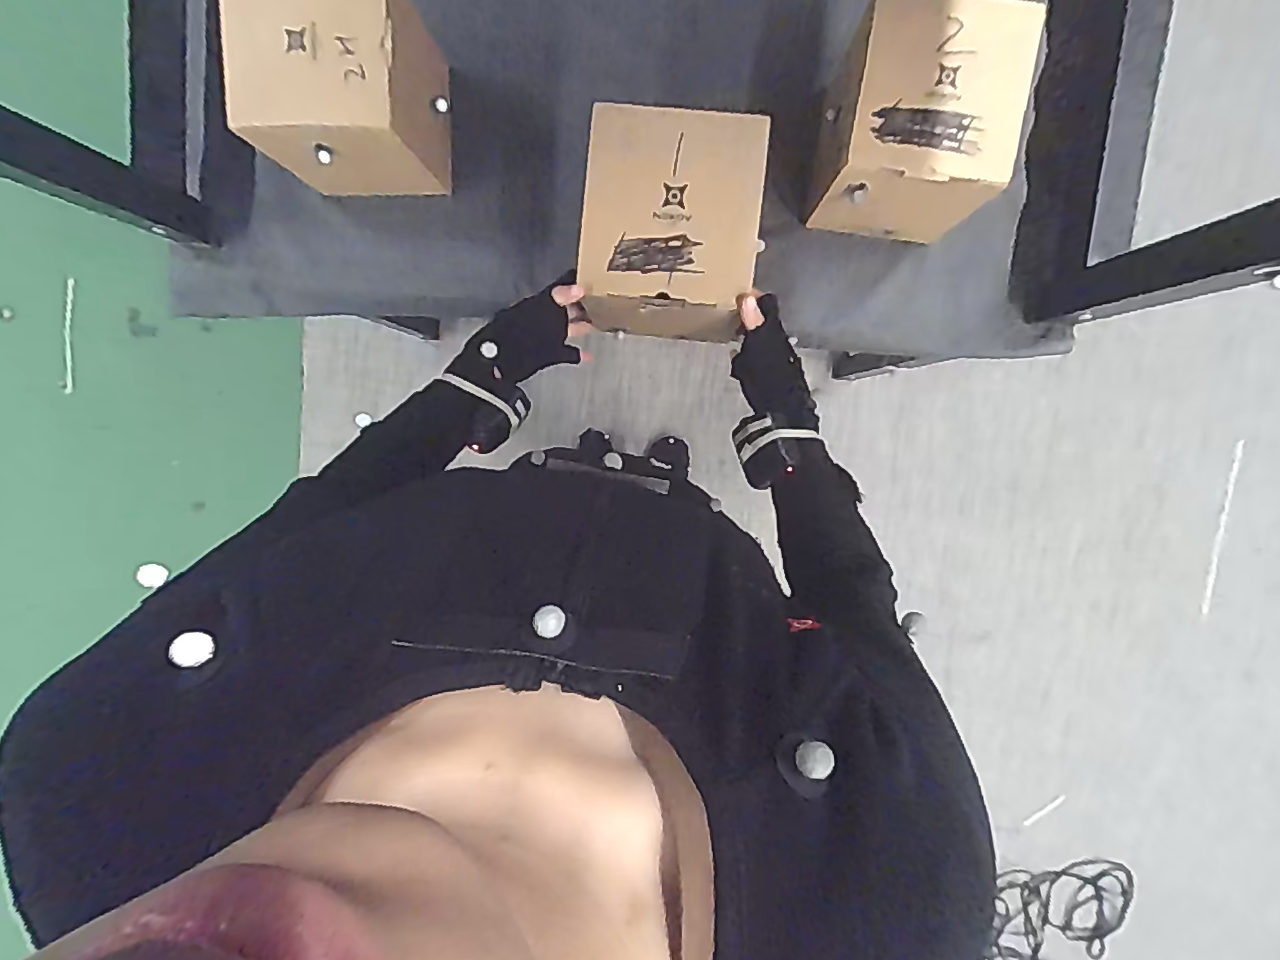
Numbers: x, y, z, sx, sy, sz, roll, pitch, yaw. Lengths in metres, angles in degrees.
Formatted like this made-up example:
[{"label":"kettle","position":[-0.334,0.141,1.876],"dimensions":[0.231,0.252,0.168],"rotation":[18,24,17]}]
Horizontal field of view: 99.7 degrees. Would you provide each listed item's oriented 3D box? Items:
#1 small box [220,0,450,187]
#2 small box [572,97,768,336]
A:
[{"label":"small box","position":[-0.339,-0.460,0.629],"dimensions":[0.179,0.176,0.168],"rotation":[1,97,1]},{"label":"small box","position":[0.030,-0.262,0.579],"dimensions":[0.168,0.176,0.179],"rotation":[7,93,2]}]
